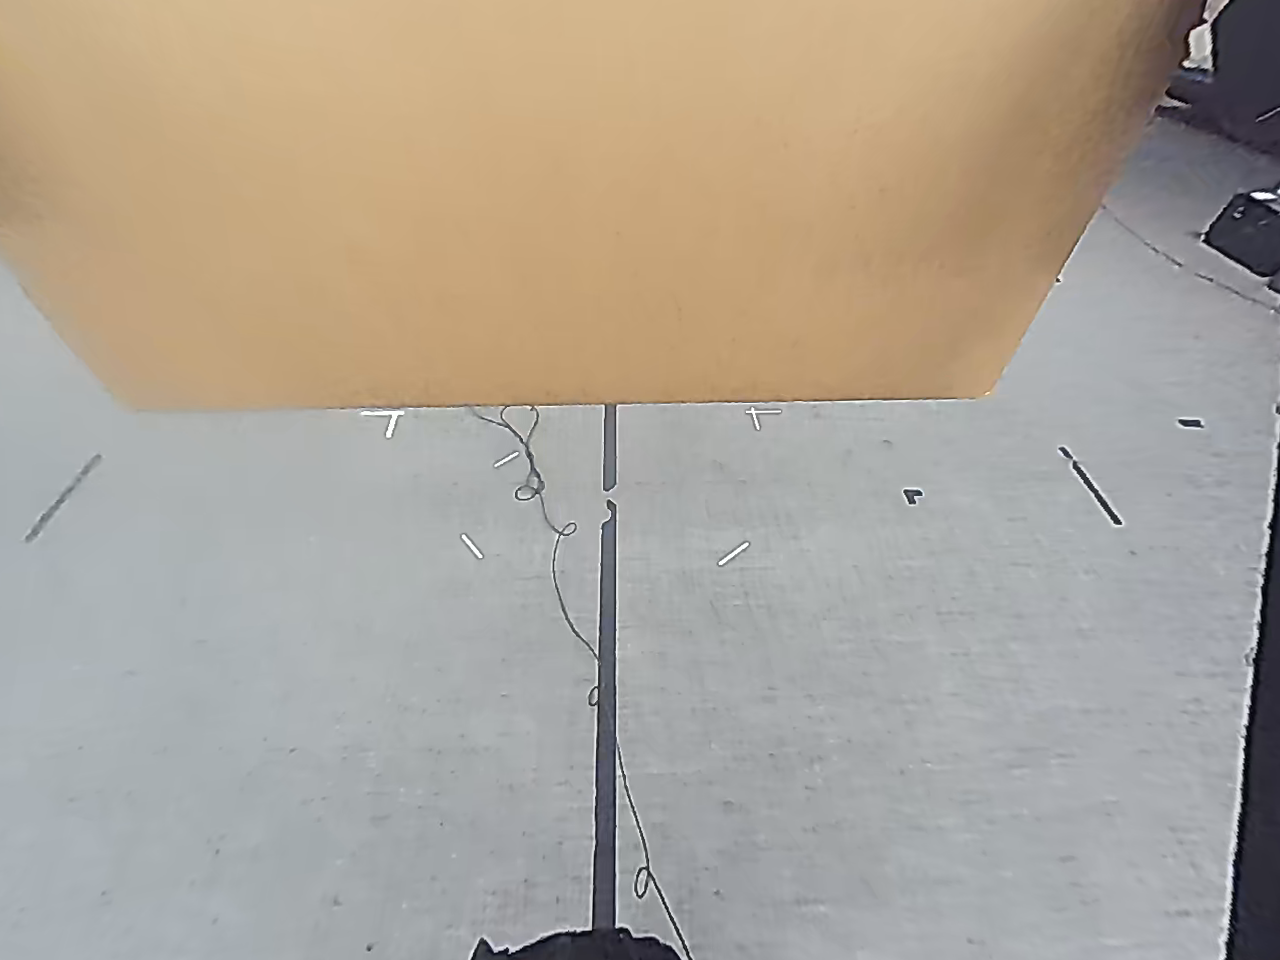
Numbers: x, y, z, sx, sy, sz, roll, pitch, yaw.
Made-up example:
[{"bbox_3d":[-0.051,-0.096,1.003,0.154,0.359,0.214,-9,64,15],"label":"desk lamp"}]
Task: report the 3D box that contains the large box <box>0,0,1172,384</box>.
[{"bbox_3d":[-0.034,-0.257,0.260,0.408,0.320,0.320,-1,45,-4],"label":"large box"}]
